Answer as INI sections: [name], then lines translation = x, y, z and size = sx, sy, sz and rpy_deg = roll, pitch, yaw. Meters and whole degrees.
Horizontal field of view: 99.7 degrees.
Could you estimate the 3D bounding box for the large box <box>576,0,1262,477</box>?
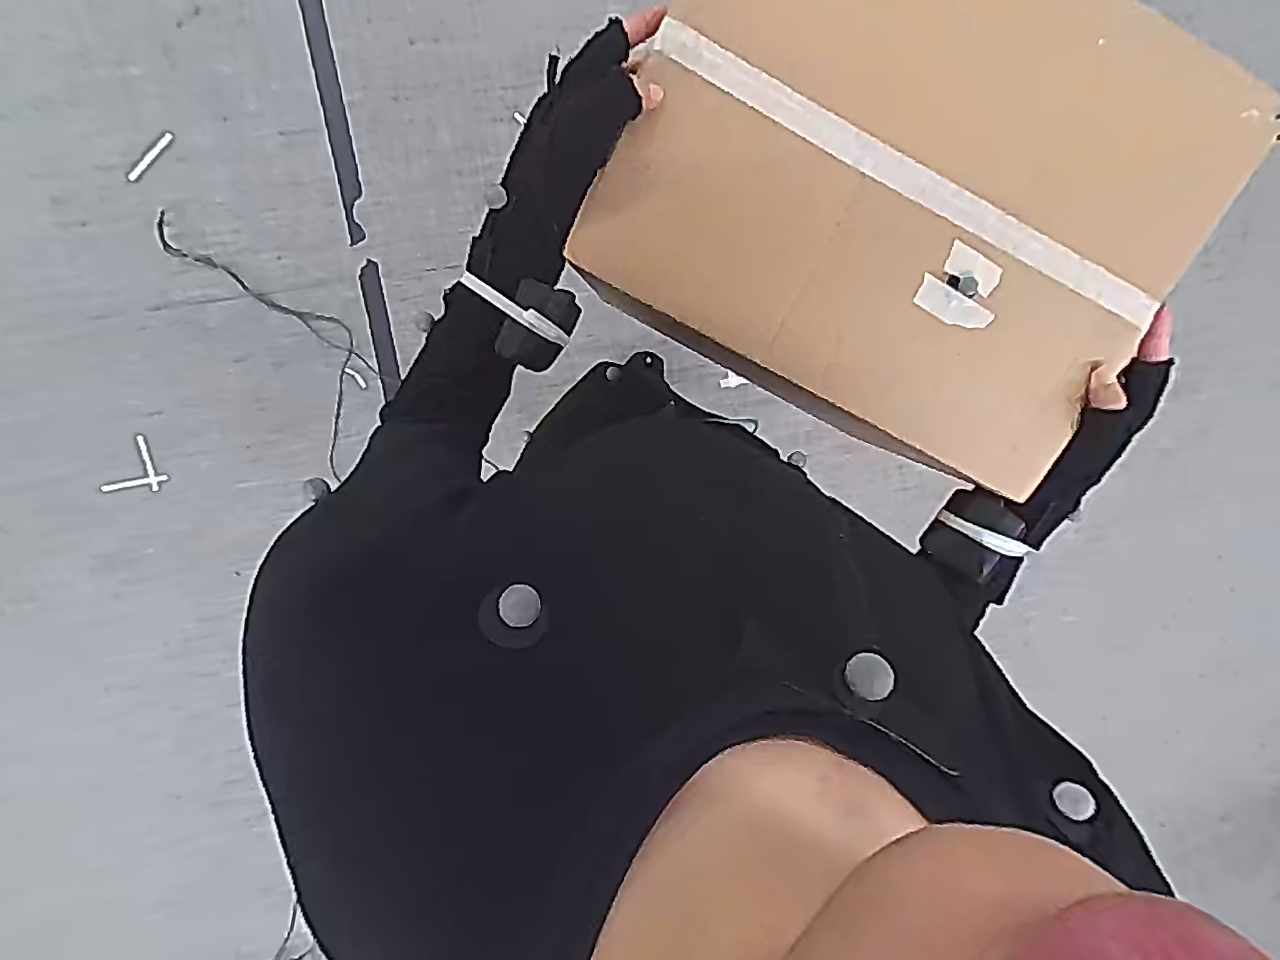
[large box]
translation = 0.193, -0.252, 0.535
size = 0.408, 0.320, 0.320
rpy_deg = 27, 103, -6
